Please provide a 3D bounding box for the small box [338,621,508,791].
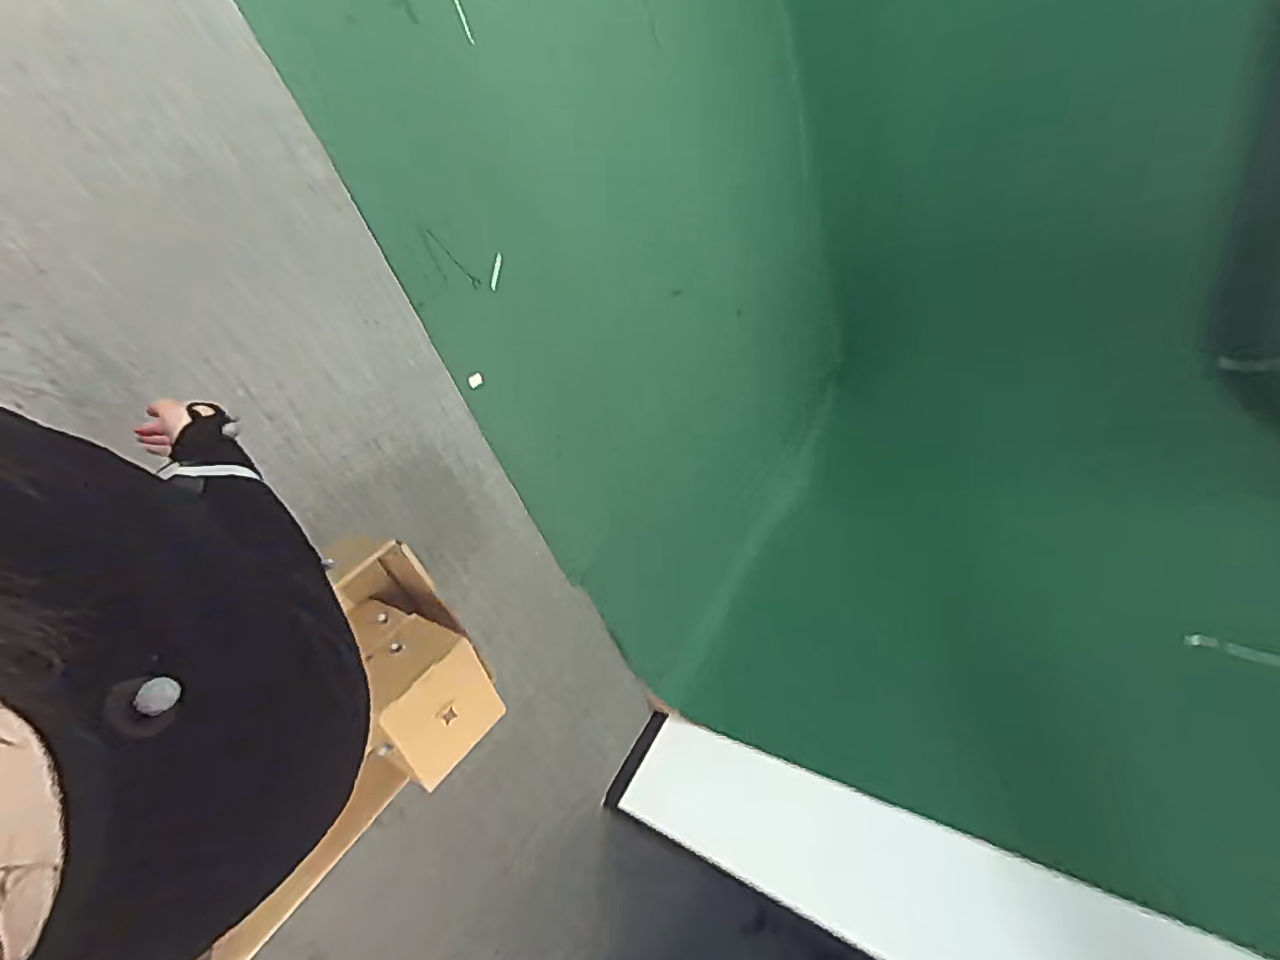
[{"bbox_3d":[-0.360,0.364,0.902,0.168,0.176,0.179,-41,124,-40],"label":"small box"}]
